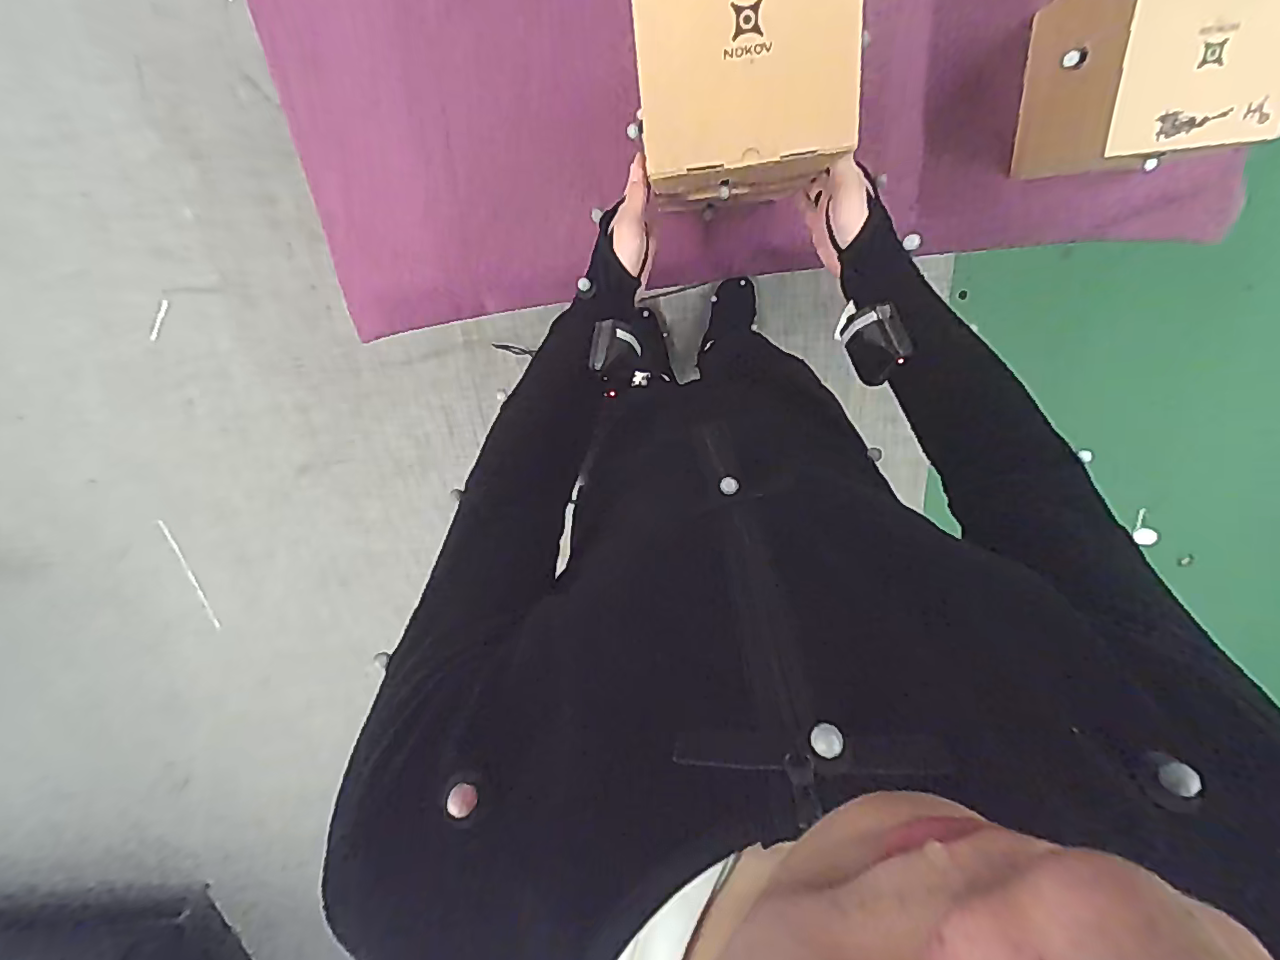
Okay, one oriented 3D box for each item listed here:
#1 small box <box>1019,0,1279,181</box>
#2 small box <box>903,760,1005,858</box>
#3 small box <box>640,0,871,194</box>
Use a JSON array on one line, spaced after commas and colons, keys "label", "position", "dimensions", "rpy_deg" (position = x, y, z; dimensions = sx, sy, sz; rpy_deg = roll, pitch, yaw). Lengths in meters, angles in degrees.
[{"label": "small box", "position": [0.549, -0.441, 0.583], "dimensions": [0.168, 0.176, 0.179], "rpy_deg": [-3, 111, 5]}, {"label": "small box", "position": [0.943, 0.991, 1.644], "dimensions": [0.179, 0.176, 0.168], "rpy_deg": [31, 112, -11]}, {"label": "small box", "position": [0.087, -0.361, 0.466], "dimensions": [0.168, 0.176, 0.179], "rpy_deg": [-5, 113, 5]}]
